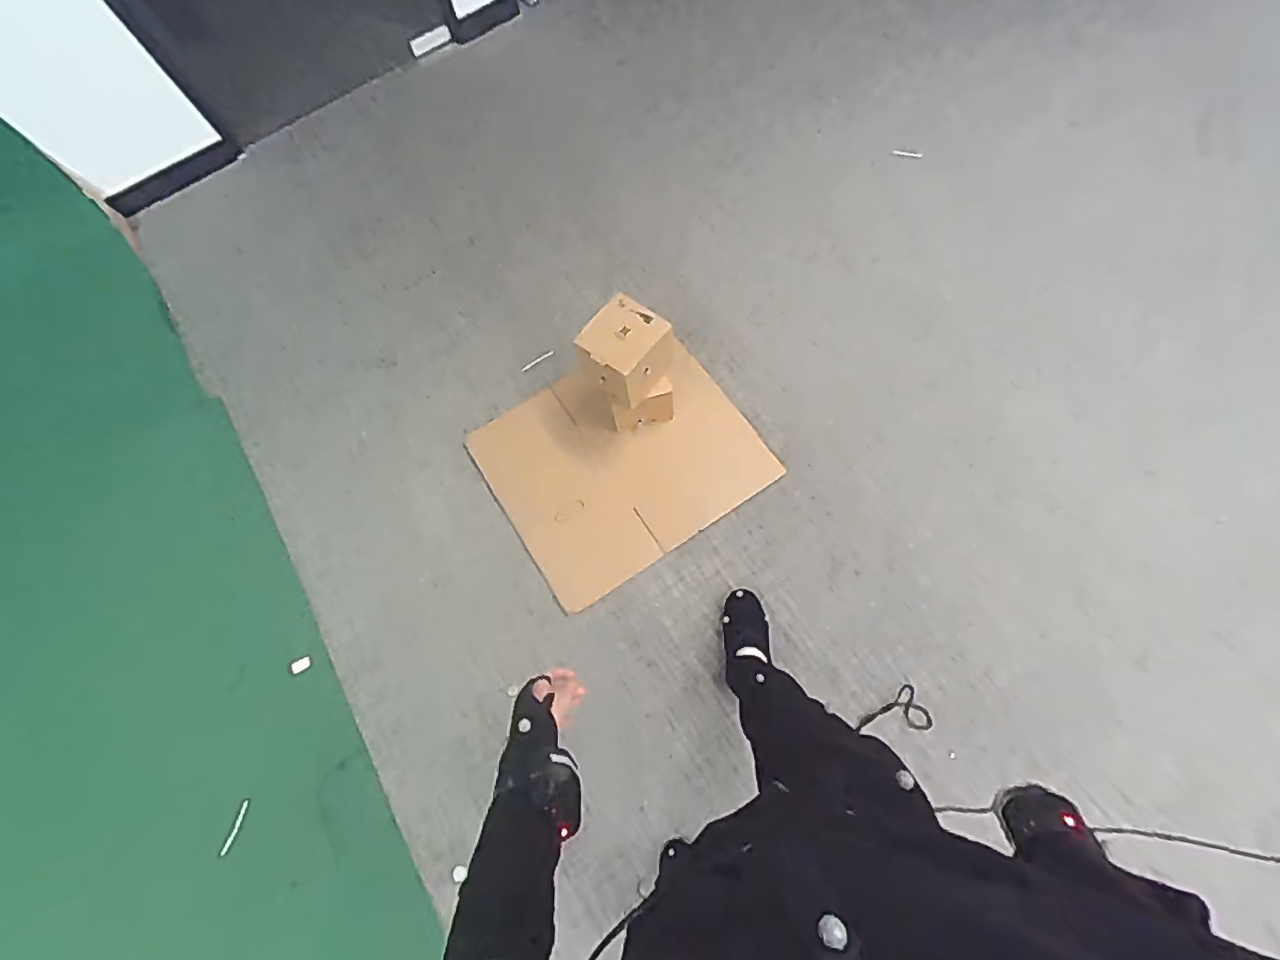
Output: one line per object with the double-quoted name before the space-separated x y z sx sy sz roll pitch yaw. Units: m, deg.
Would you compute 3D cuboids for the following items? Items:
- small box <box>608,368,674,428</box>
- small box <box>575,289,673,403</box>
"small box" -0.006 -0.267 1.481 0.168 0.176 0.179 -14 70 0
"small box" -0.030 -0.322 1.329 0.168 0.176 0.179 37 78 16
